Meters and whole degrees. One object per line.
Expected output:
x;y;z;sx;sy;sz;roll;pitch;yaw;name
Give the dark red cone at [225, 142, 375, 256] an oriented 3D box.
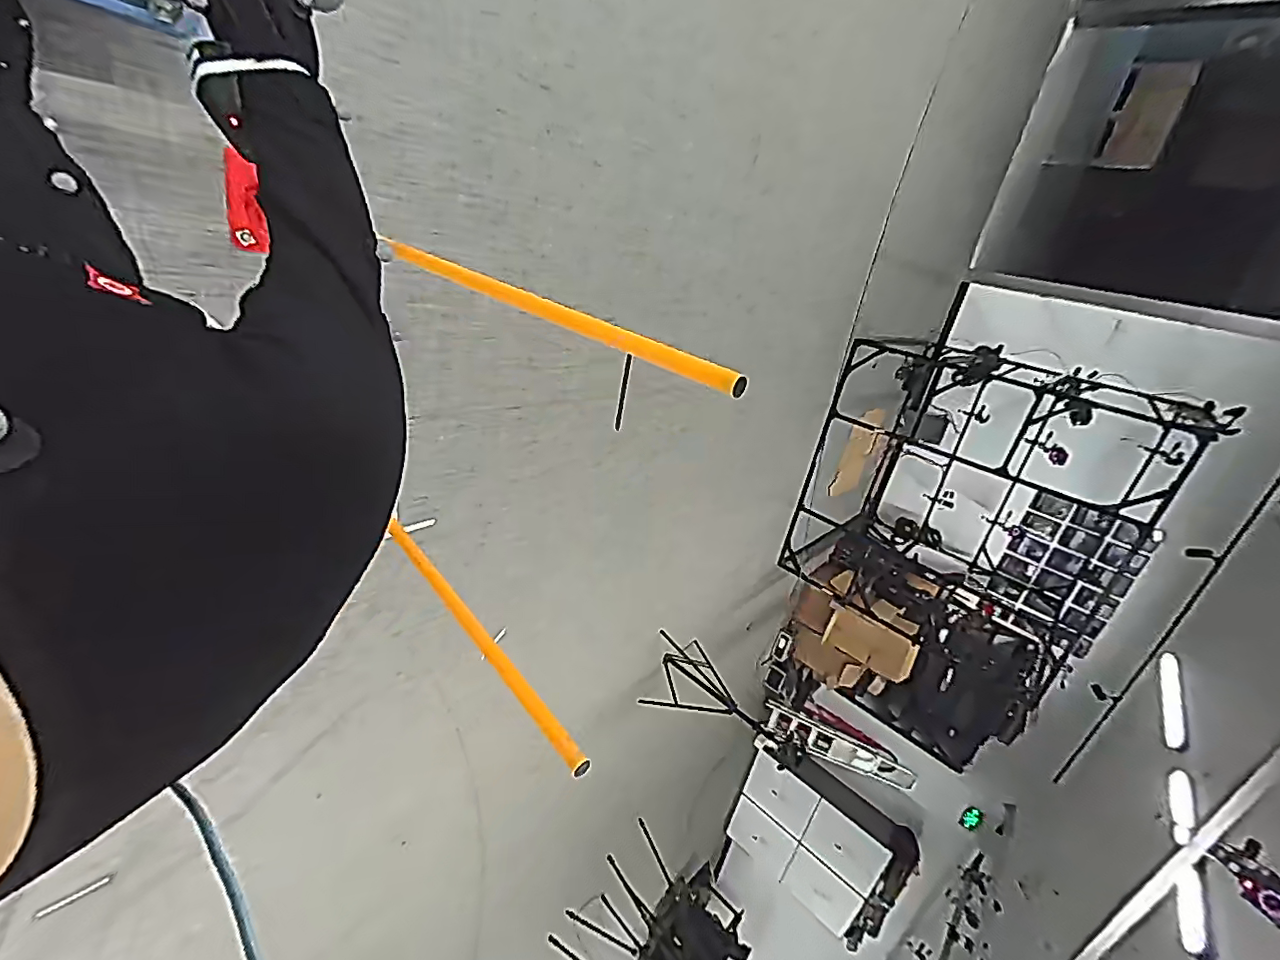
-0.645;-0.534;1.080;0.201;0.394;0.202;-18;127;-49;dark red cone
